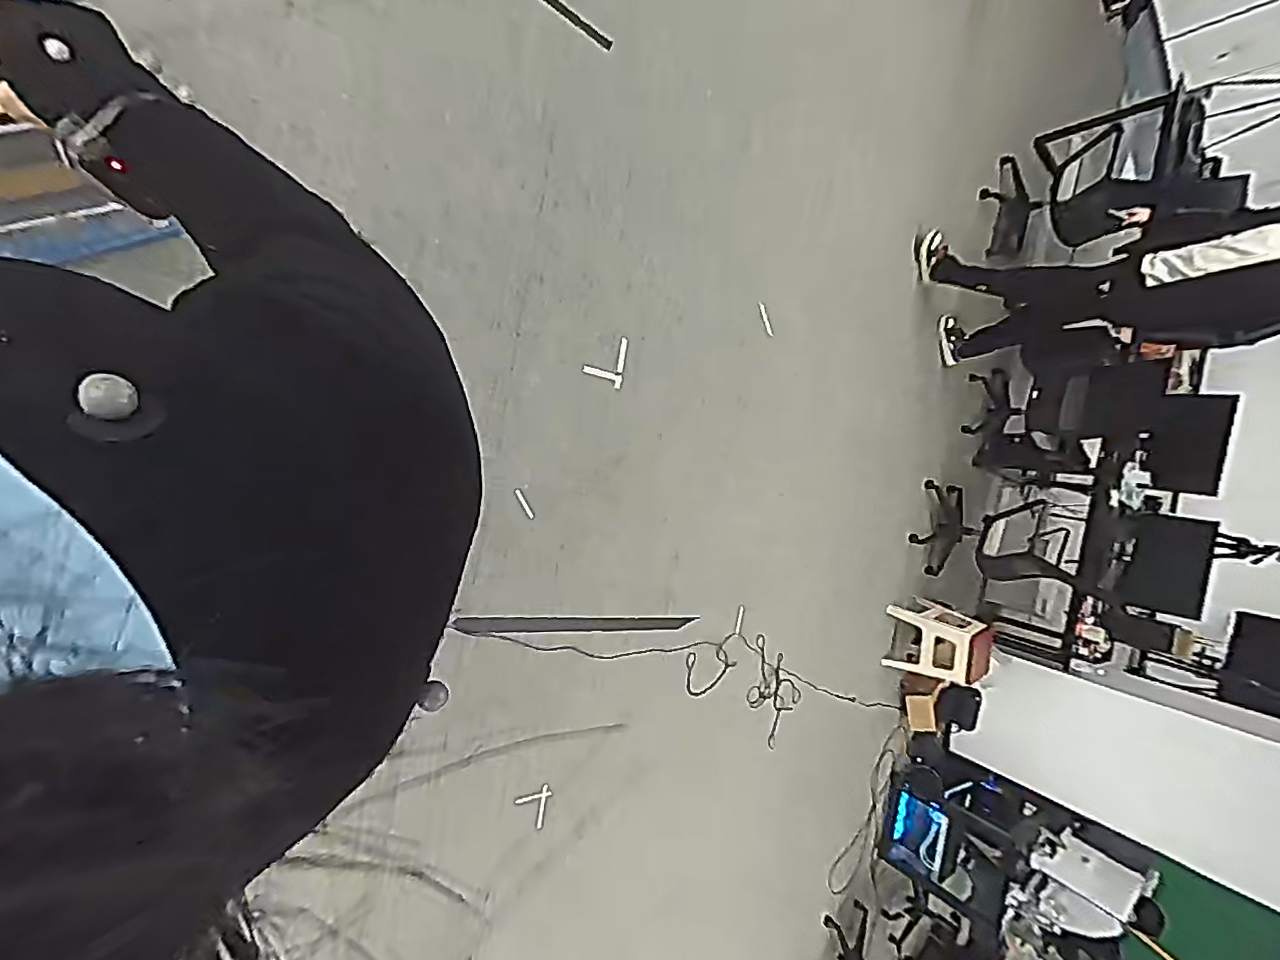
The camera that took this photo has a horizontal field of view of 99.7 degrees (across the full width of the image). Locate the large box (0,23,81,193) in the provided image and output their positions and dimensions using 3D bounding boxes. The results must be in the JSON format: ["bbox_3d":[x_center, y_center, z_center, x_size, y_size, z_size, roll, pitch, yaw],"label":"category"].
[{"bbox_3d":[-1.028,-0.524,0.637,0.408,0.320,0.320,-35,118,-31],"label":"large box"}]
